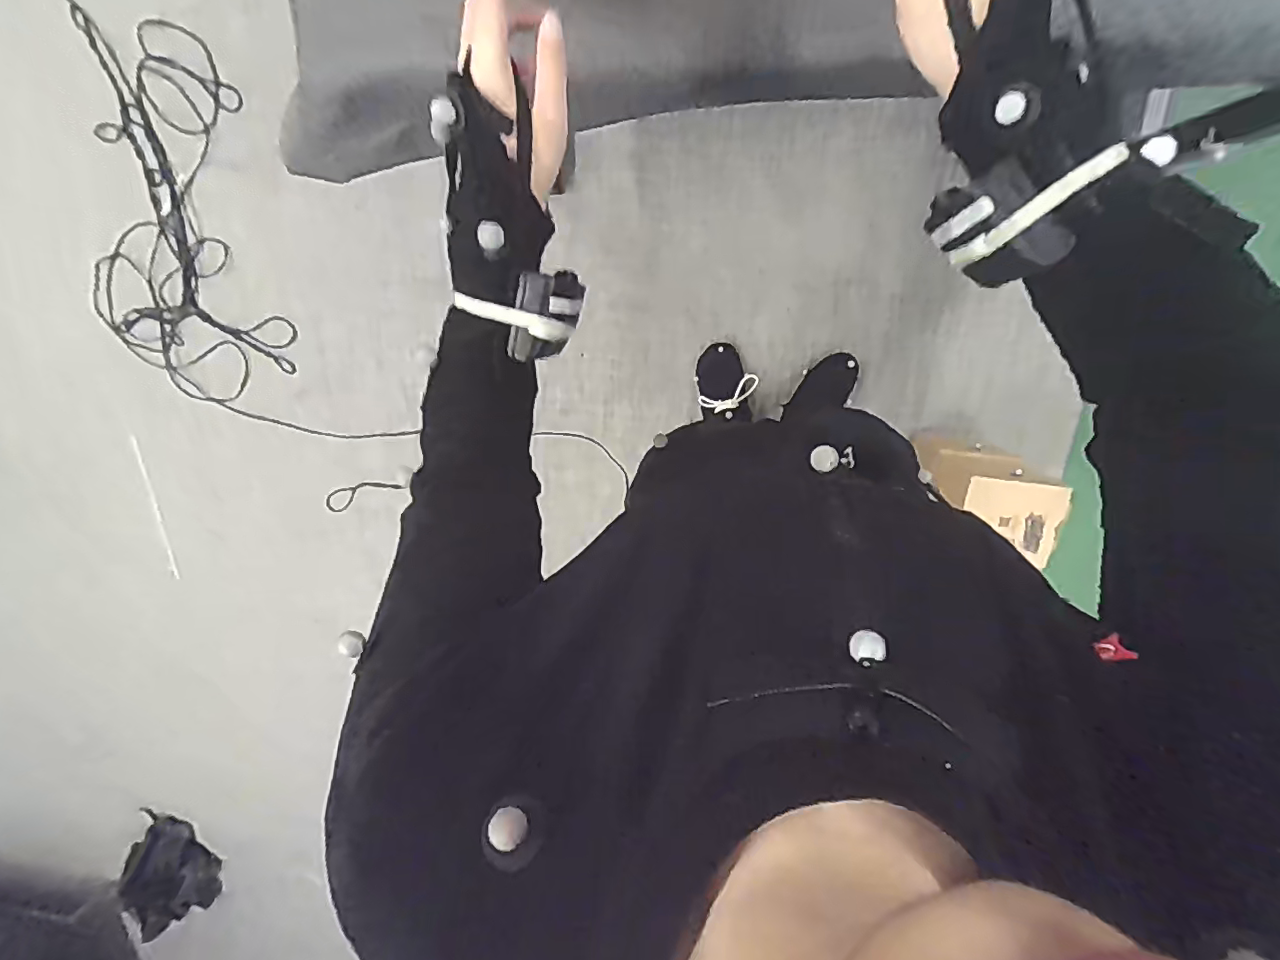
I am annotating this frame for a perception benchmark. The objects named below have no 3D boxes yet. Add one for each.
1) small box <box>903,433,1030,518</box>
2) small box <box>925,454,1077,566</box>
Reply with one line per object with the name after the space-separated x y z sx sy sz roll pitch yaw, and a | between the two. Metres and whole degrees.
0.726 -0.005 1.225 0.179 0.176 0.168 8 108 7 | small box
0.701 0.051 1.072 0.179 0.176 0.168 7 108 7 | small box
